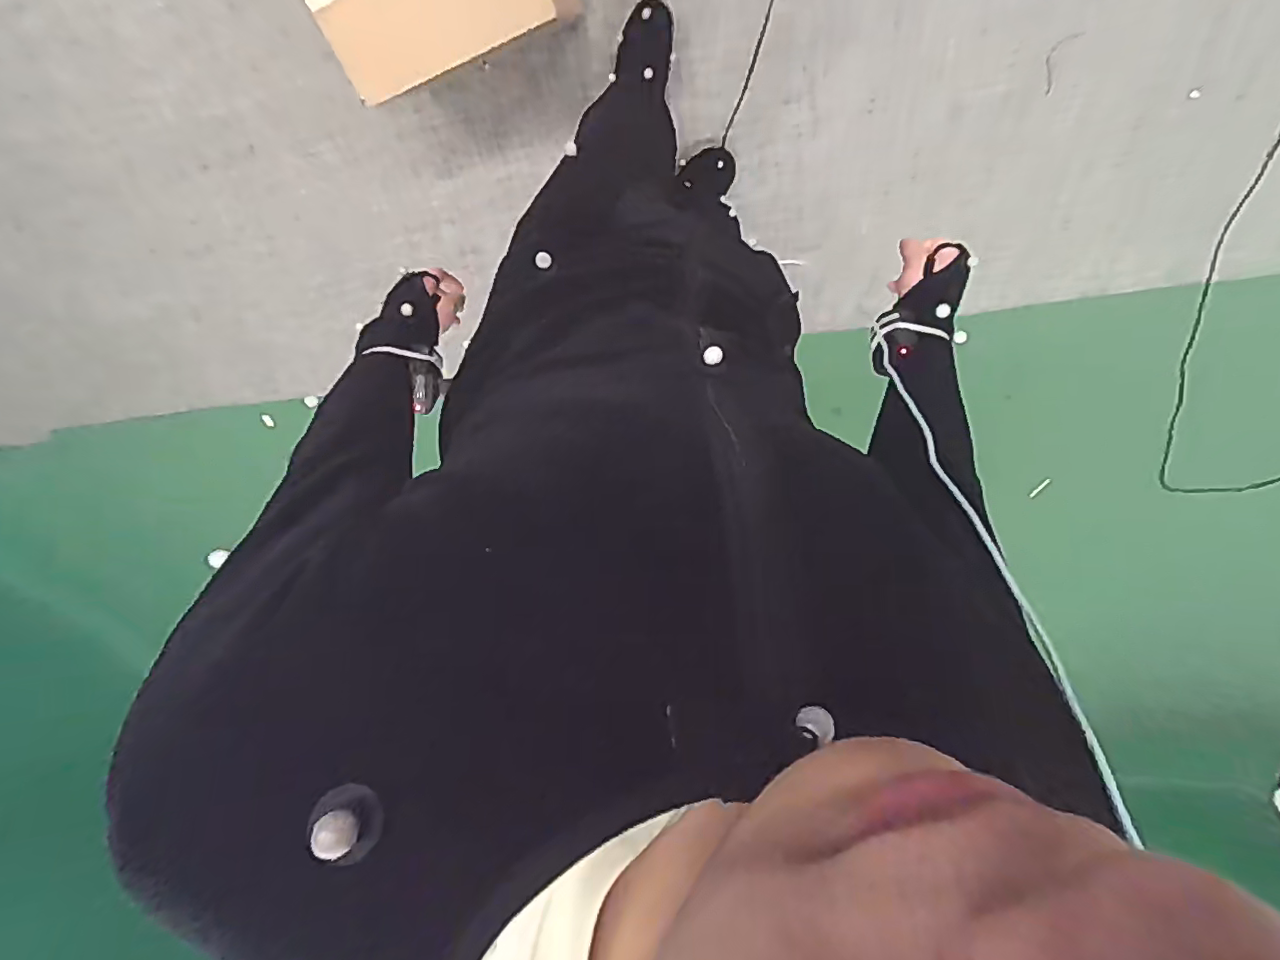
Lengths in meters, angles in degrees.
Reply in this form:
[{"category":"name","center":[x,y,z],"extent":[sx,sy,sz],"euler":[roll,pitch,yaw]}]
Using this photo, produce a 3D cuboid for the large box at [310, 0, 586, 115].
[{"category":"large box","center":[-0.360,-0.947,0.997],"extent":[0.408,0.320,0.320],"euler":[-12,128,17]}]
